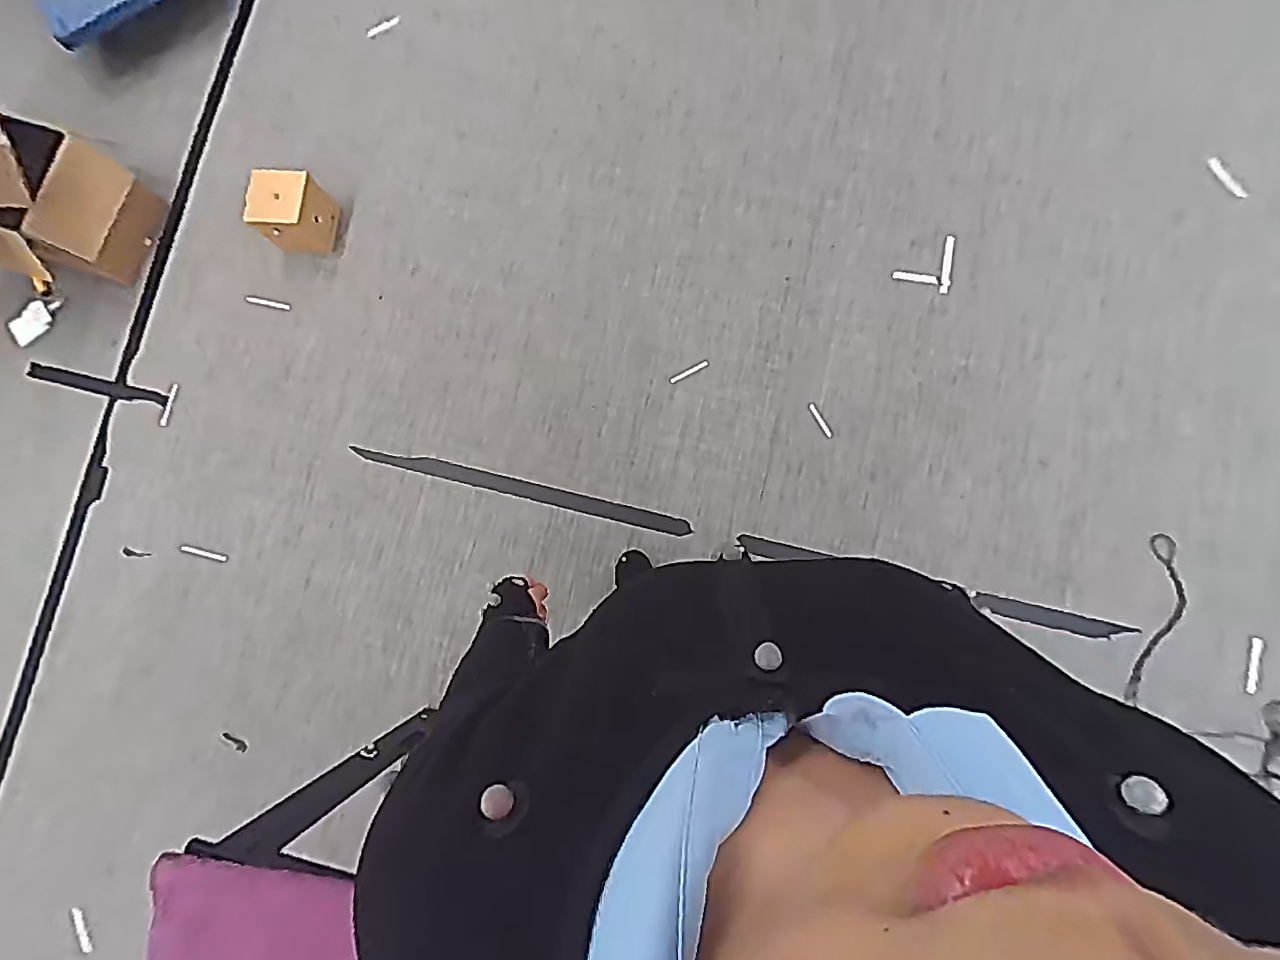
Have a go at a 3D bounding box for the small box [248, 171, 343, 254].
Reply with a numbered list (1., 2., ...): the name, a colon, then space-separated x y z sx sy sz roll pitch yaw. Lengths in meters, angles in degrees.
1. small box: -1.052 -0.818 1.666 0.179 0.176 0.168 5 83 6
